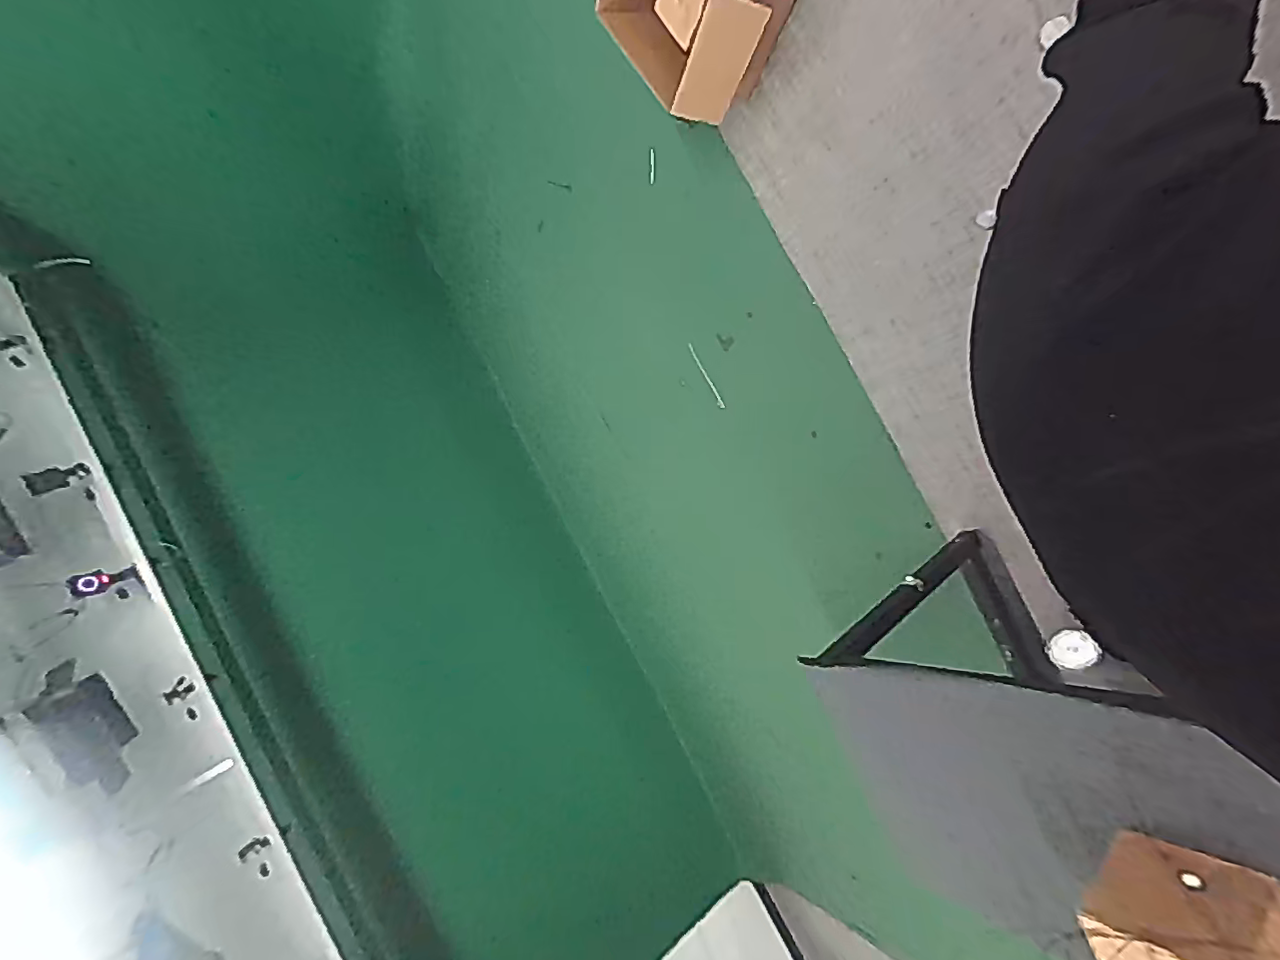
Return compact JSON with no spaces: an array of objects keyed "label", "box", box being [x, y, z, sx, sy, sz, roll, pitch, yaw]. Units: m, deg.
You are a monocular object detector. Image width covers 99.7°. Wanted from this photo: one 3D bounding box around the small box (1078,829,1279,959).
[{"label":"small box","box":[0.740,0.618,0.713,0.179,0.176,0.168,64,153,-1]}]
